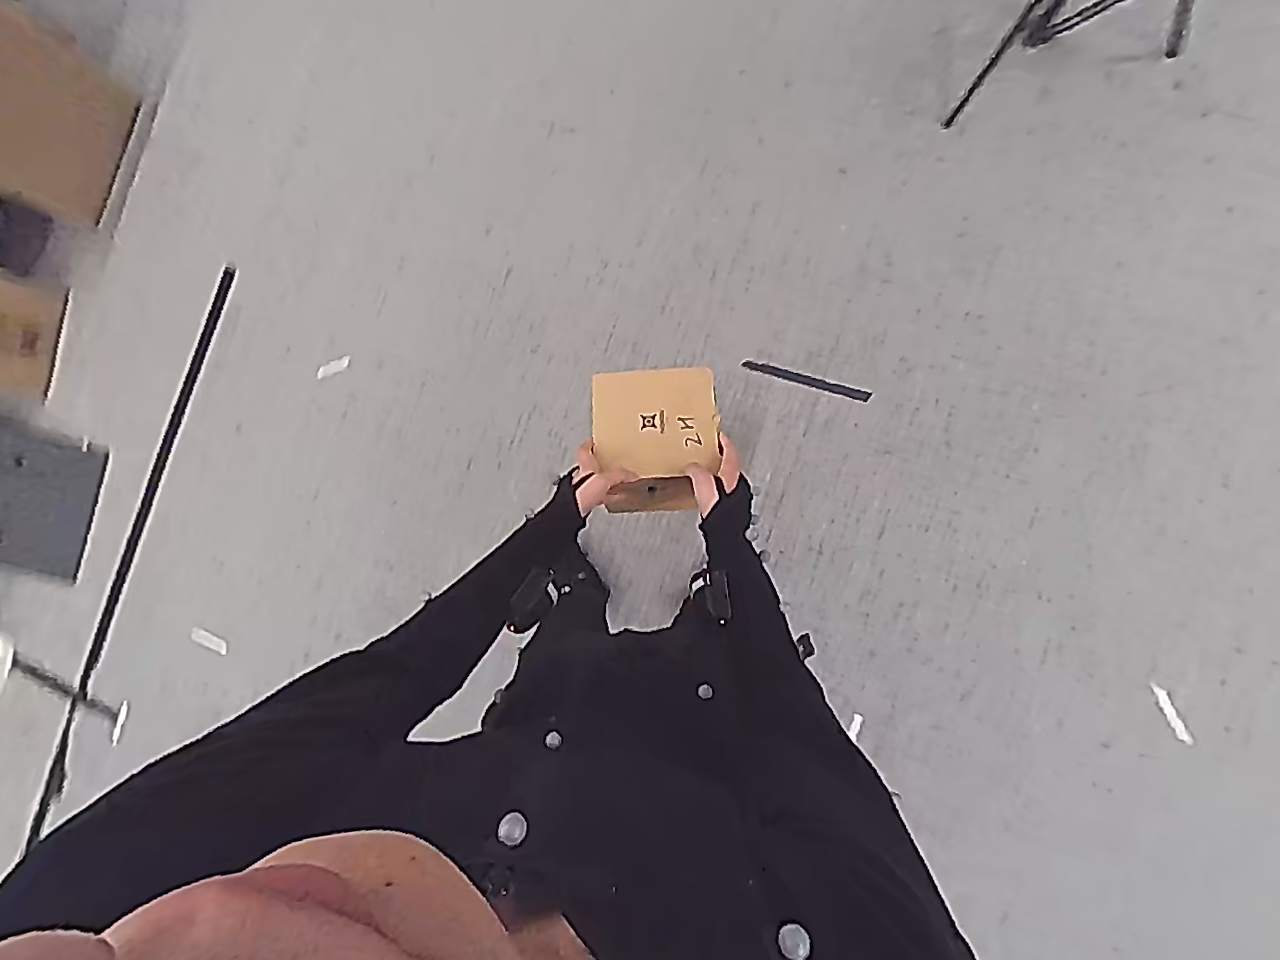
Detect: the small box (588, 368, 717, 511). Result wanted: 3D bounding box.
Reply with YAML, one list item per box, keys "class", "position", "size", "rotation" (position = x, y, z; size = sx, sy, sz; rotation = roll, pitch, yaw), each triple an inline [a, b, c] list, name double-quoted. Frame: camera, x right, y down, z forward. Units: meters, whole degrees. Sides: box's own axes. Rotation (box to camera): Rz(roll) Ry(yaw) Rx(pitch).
- class: "small box"
  position: [0.021, -0.052, 0.821]
  size: [0.179, 0.176, 0.168]
  rotation: [-3, 72, 3]
